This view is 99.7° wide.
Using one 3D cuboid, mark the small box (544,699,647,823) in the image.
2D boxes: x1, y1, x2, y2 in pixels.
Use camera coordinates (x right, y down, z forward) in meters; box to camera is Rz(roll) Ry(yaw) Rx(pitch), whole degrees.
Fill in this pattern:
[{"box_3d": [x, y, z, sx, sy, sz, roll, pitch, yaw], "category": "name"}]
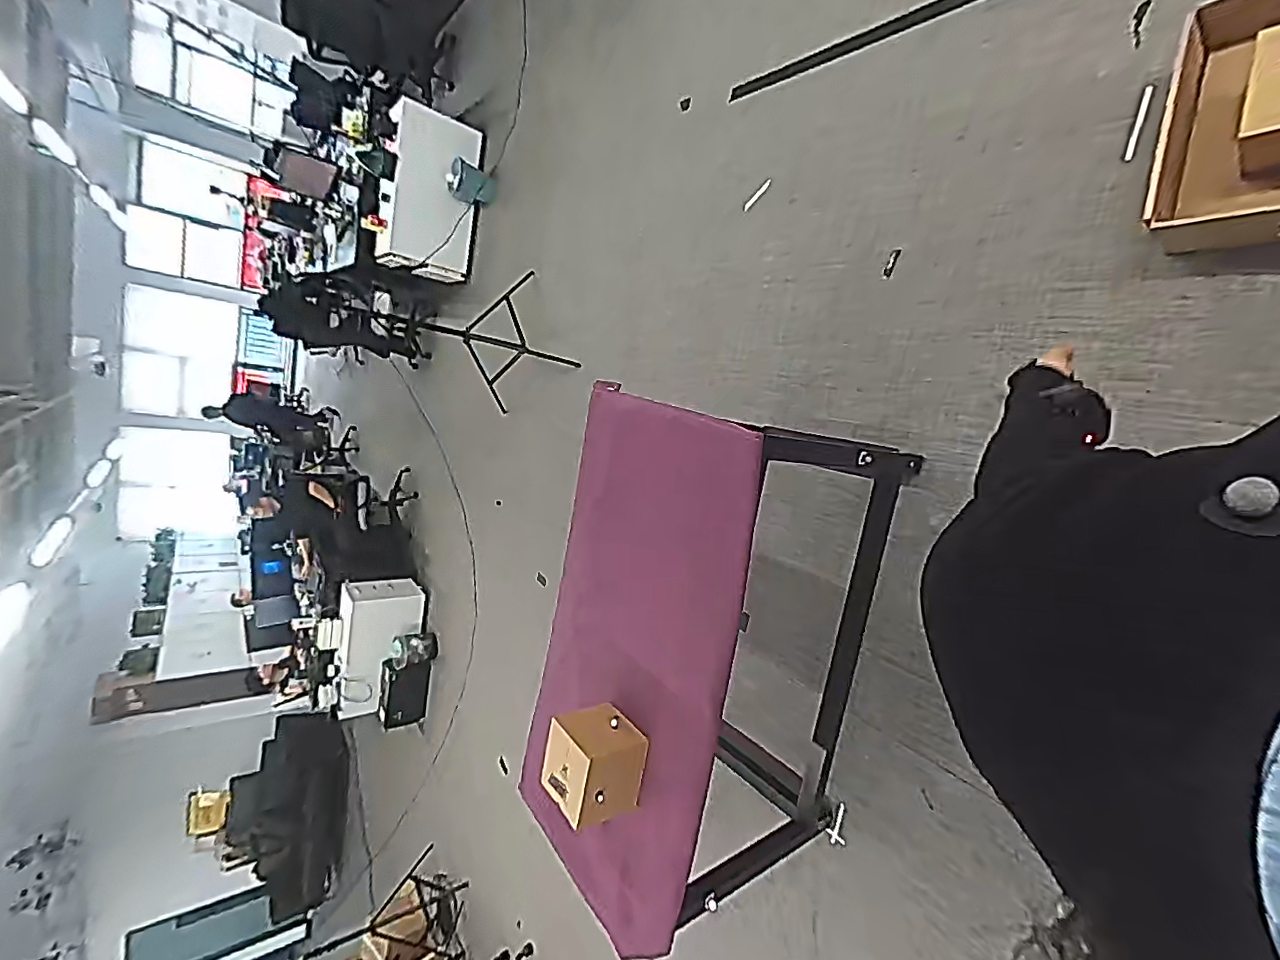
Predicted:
[{"box_3d": [-0.102, 0.646, 1.264, 0.168, 0.176, 0.179, 22, 104, 49], "category": "small box"}]
